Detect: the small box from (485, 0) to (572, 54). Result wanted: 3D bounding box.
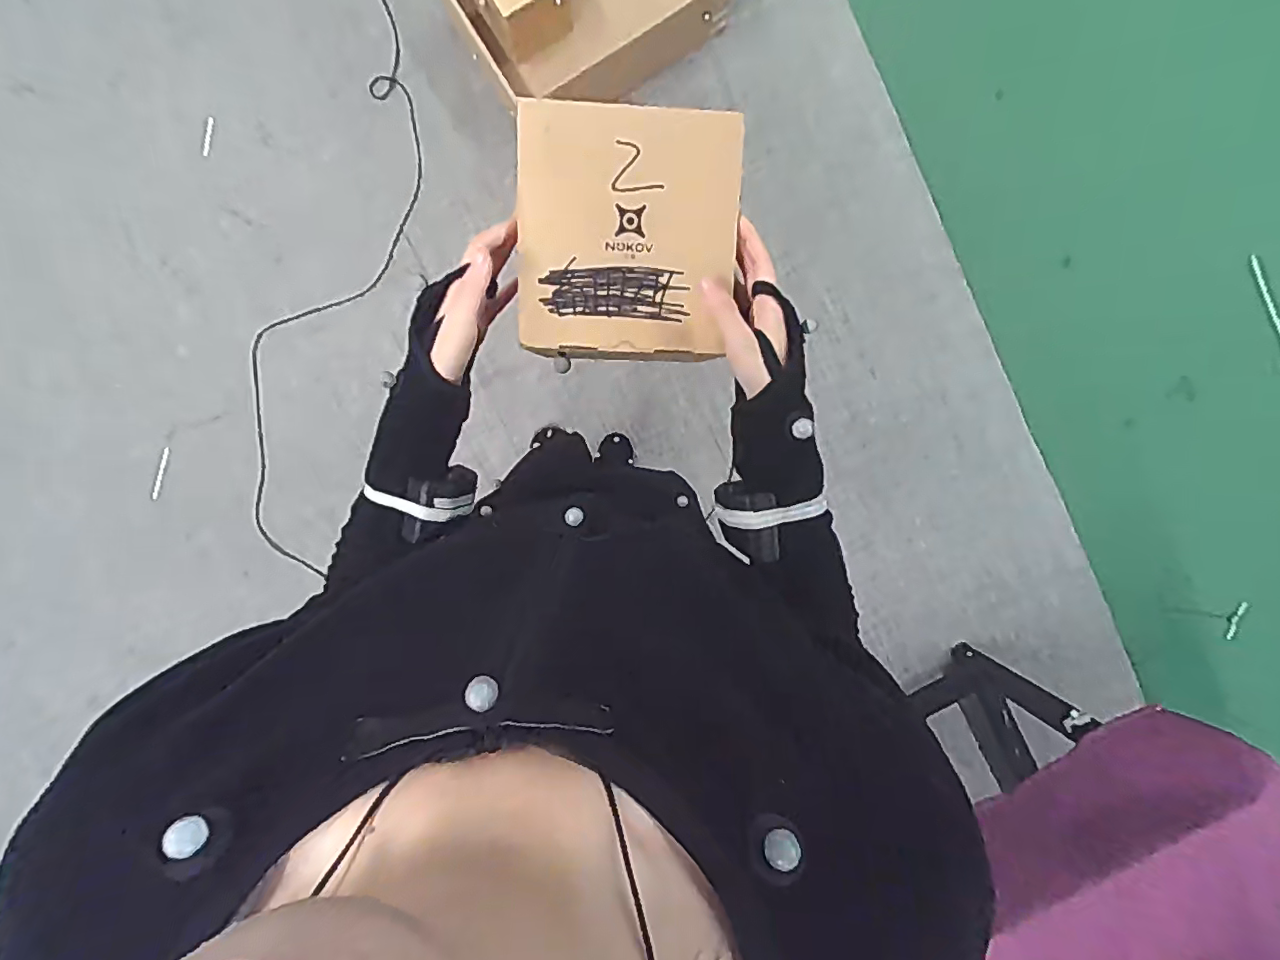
[{"bbox_3d":[-0.274,-1.161,1.267,0.179,0.176,0.168,-32,97,0],"label":"small box"}]
